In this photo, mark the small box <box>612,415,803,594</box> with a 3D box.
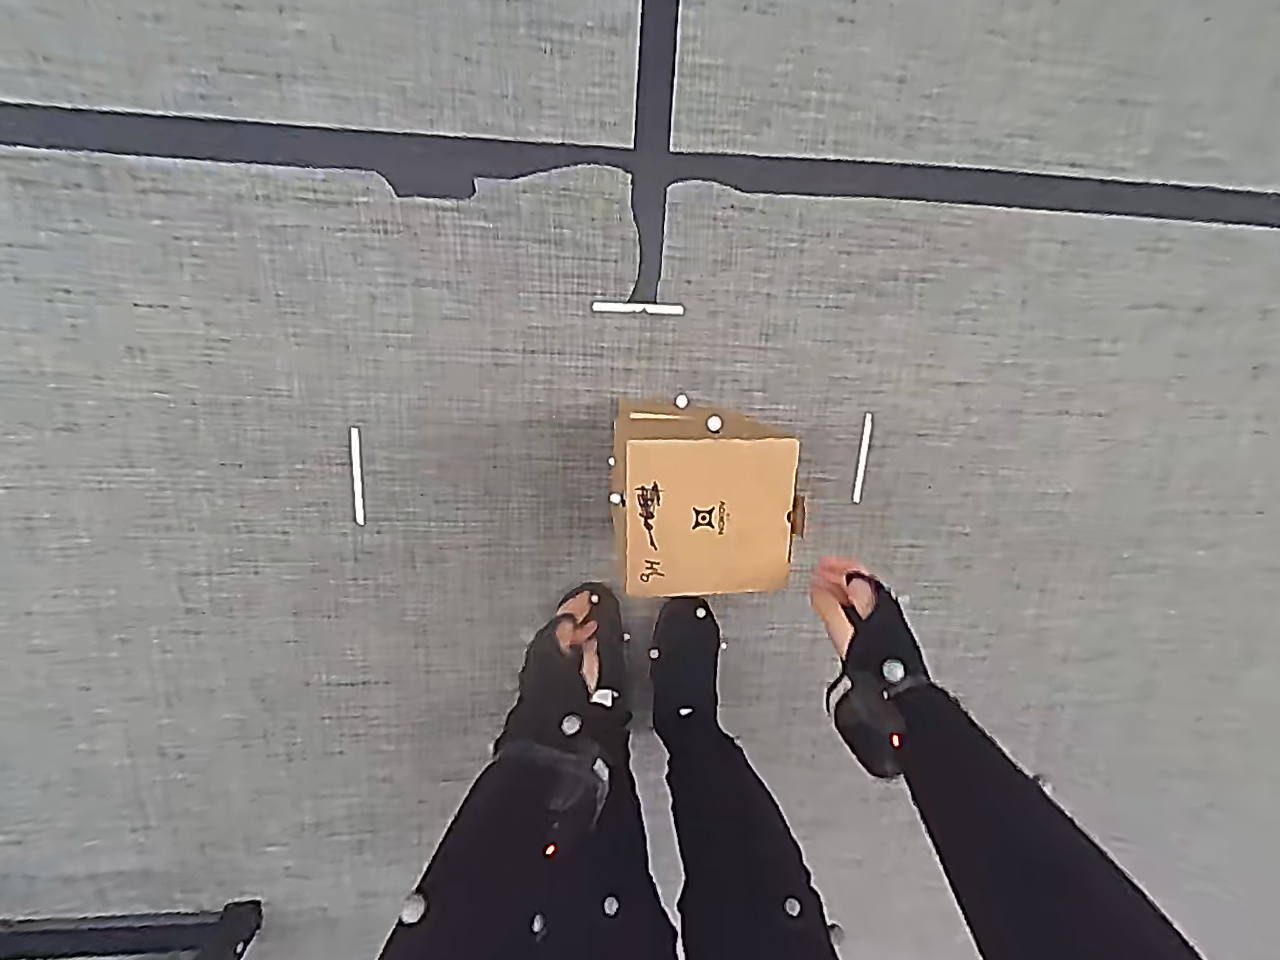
[{"bbox_3d":[0.063,0.016,0.618,0.179,0.176,0.168,-1,103,-7],"label":"small box"}]

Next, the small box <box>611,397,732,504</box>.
[{"bbox_3d":[0.050,-0.019,0.778,0.168,0.176,0.179,4,102,-8],"label":"small box"}]
